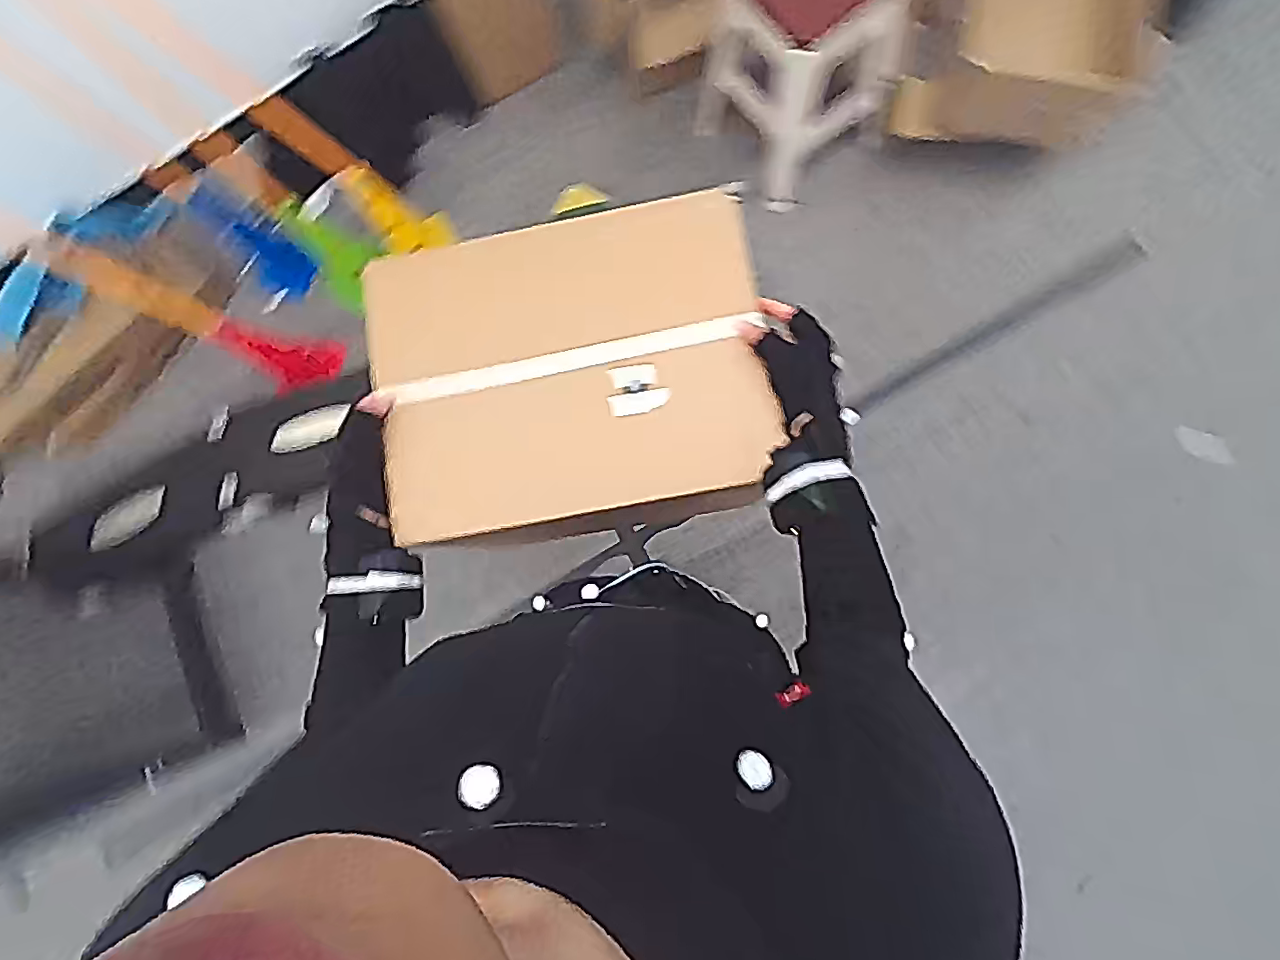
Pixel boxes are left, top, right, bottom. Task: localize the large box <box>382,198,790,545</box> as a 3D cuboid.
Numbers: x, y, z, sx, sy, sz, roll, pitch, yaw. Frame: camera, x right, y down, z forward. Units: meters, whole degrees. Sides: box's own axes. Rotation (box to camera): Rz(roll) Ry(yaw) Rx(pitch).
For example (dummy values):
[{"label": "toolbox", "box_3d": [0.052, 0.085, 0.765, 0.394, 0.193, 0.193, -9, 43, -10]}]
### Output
[{"label": "large box", "box_3d": [-0.060, -0.102, 0.716, 0.408, 0.320, 0.320, -10, 82, 2]}]
